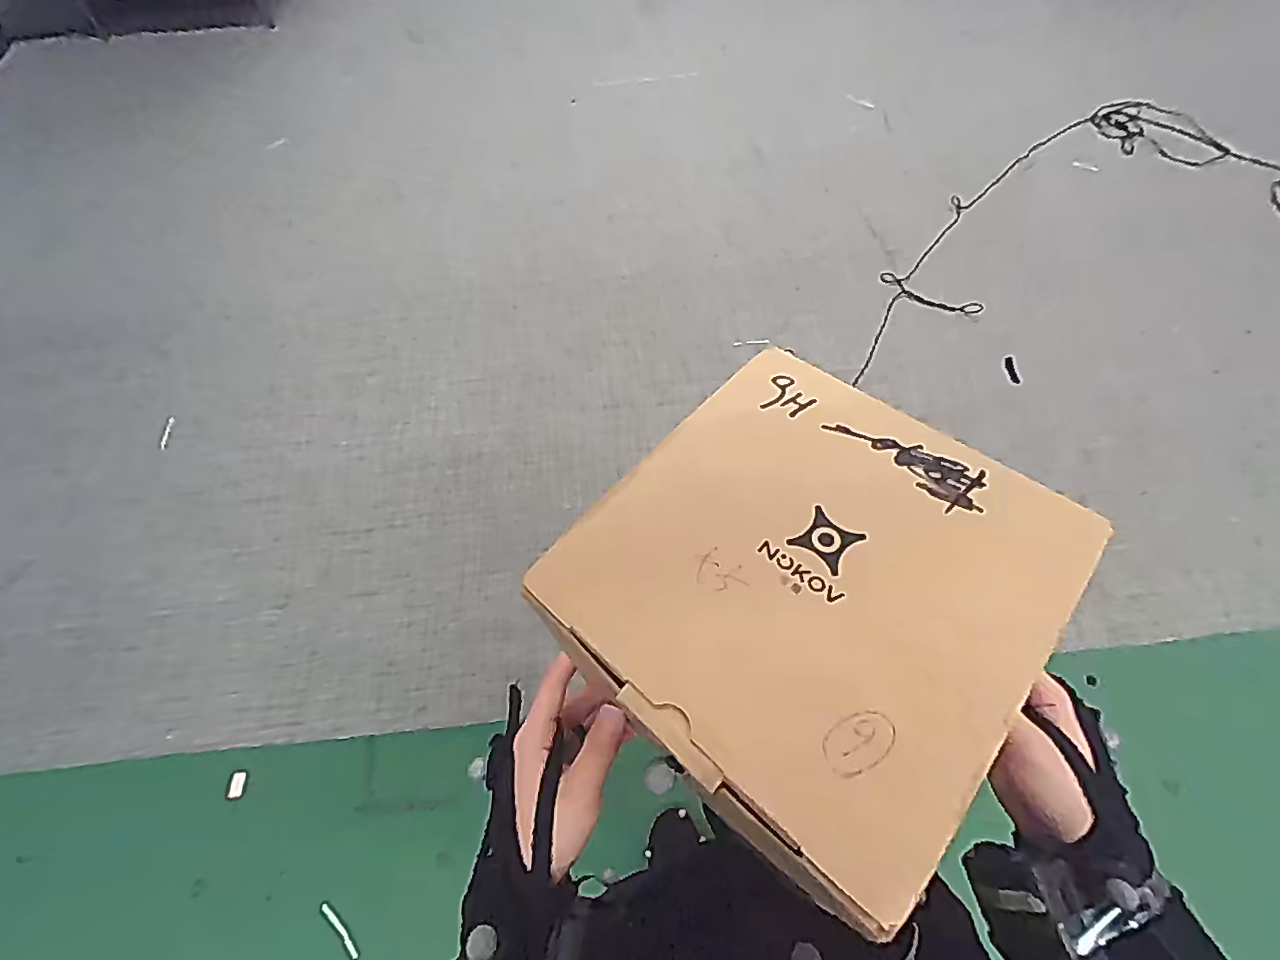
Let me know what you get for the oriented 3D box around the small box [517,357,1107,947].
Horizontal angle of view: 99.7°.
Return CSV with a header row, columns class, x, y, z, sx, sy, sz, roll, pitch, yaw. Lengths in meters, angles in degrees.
class,x,y,z,sx,sy,sz,roll,pitch,yaw
small box,0.073,0.078,0.281,0.168,0.176,0.179,36,68,26
